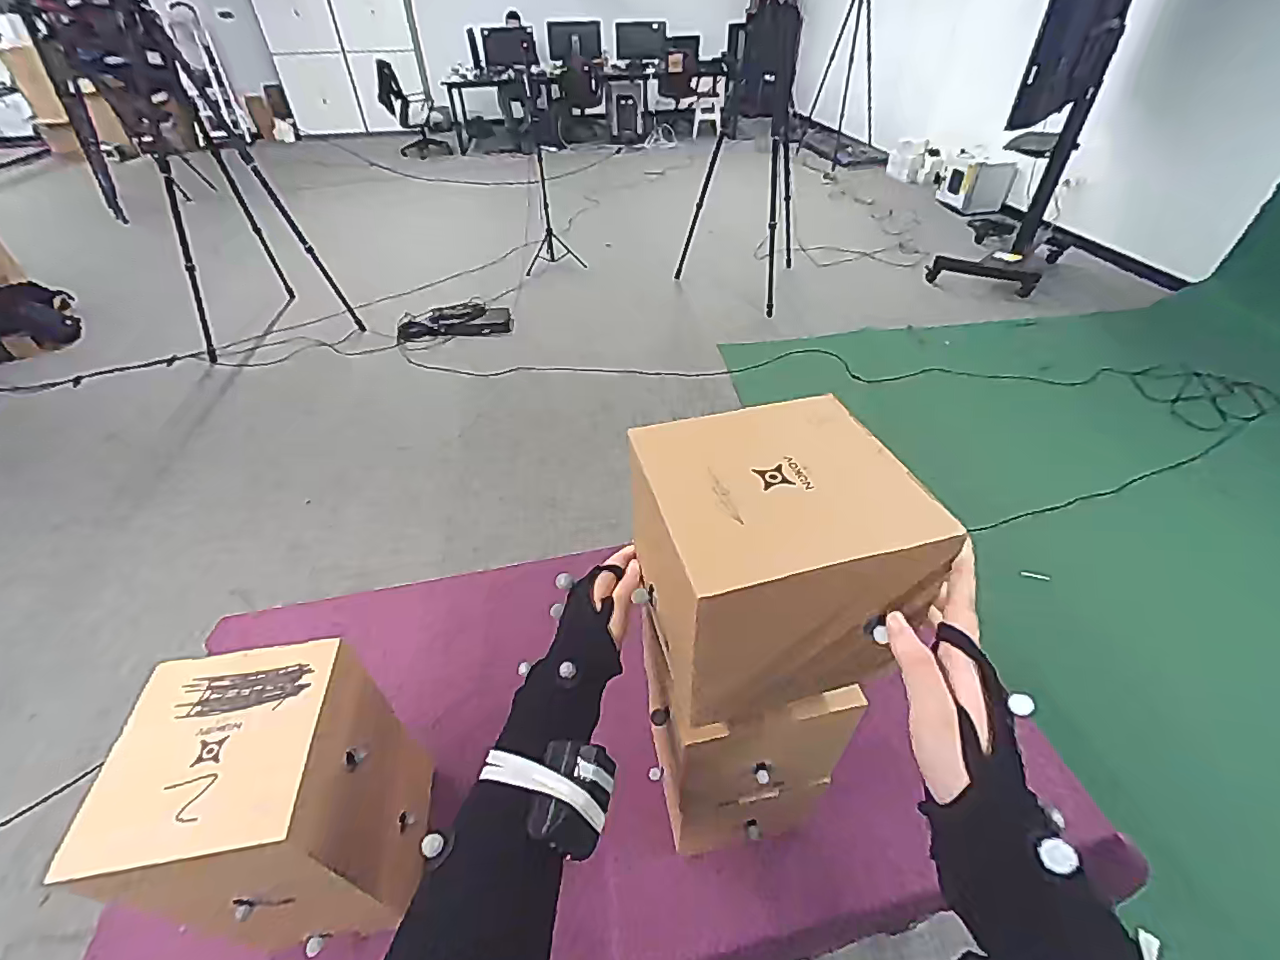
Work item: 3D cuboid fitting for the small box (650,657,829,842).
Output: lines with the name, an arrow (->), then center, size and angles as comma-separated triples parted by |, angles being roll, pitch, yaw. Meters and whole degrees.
small box -> 0.111, 0.329, 0.680 | 0.168, 0.176, 0.179 | -8, 44, -7

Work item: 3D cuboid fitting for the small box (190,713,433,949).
small box -> -0.347, 0.399, 0.619 | 0.168, 0.176, 0.179 | -7, 44, -6

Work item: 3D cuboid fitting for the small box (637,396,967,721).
small box -> 0.100, 0.059, 0.424 | 0.179, 0.176, 0.168 | -11, 42, -9
